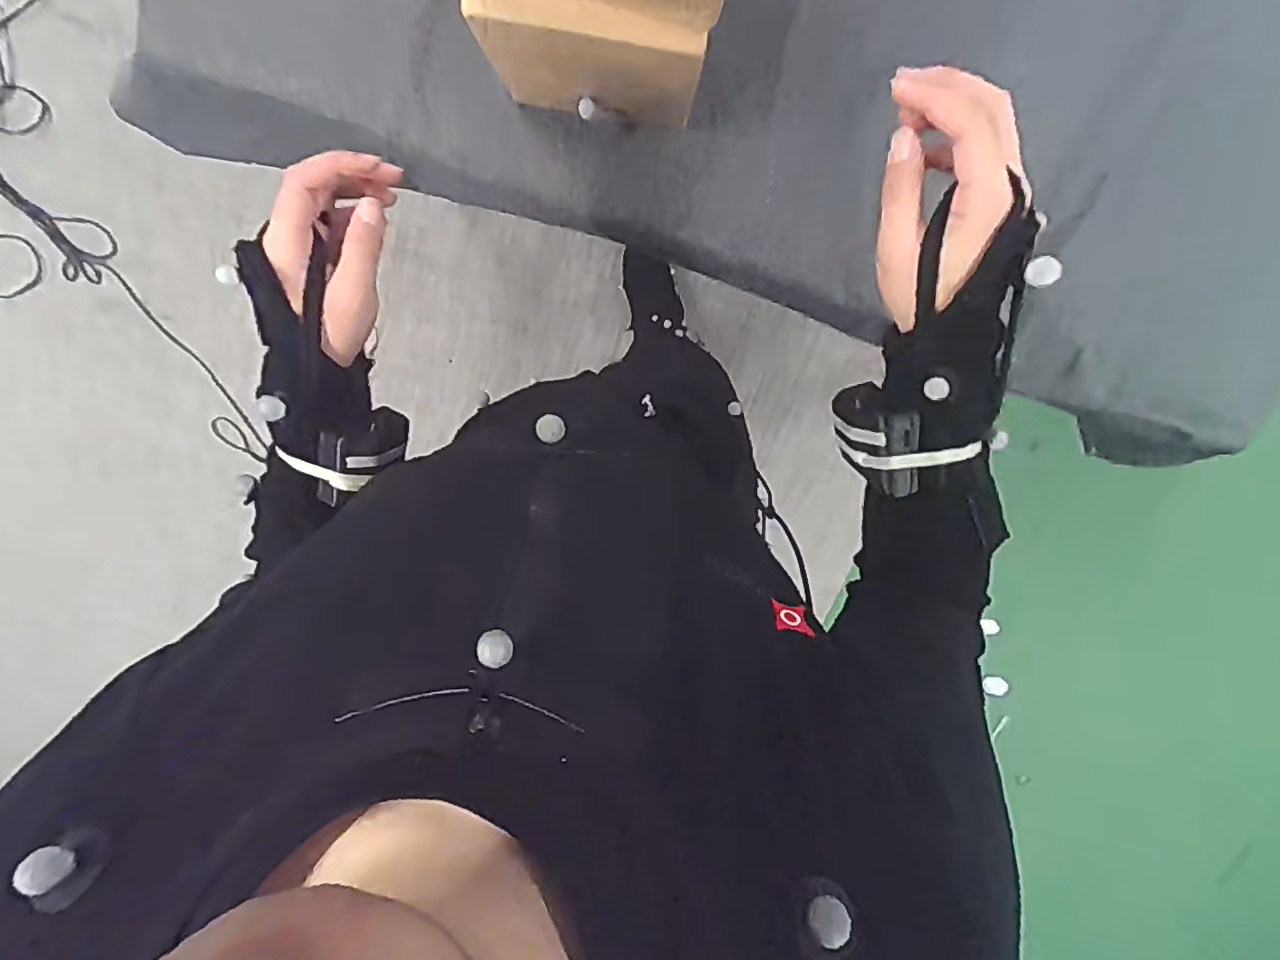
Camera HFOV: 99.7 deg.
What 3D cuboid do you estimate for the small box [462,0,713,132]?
[{"bbox_3d":[-0.024,-0.397,0.408,0.168,0.176,0.179,8,109,-3],"label":"small box"}]
